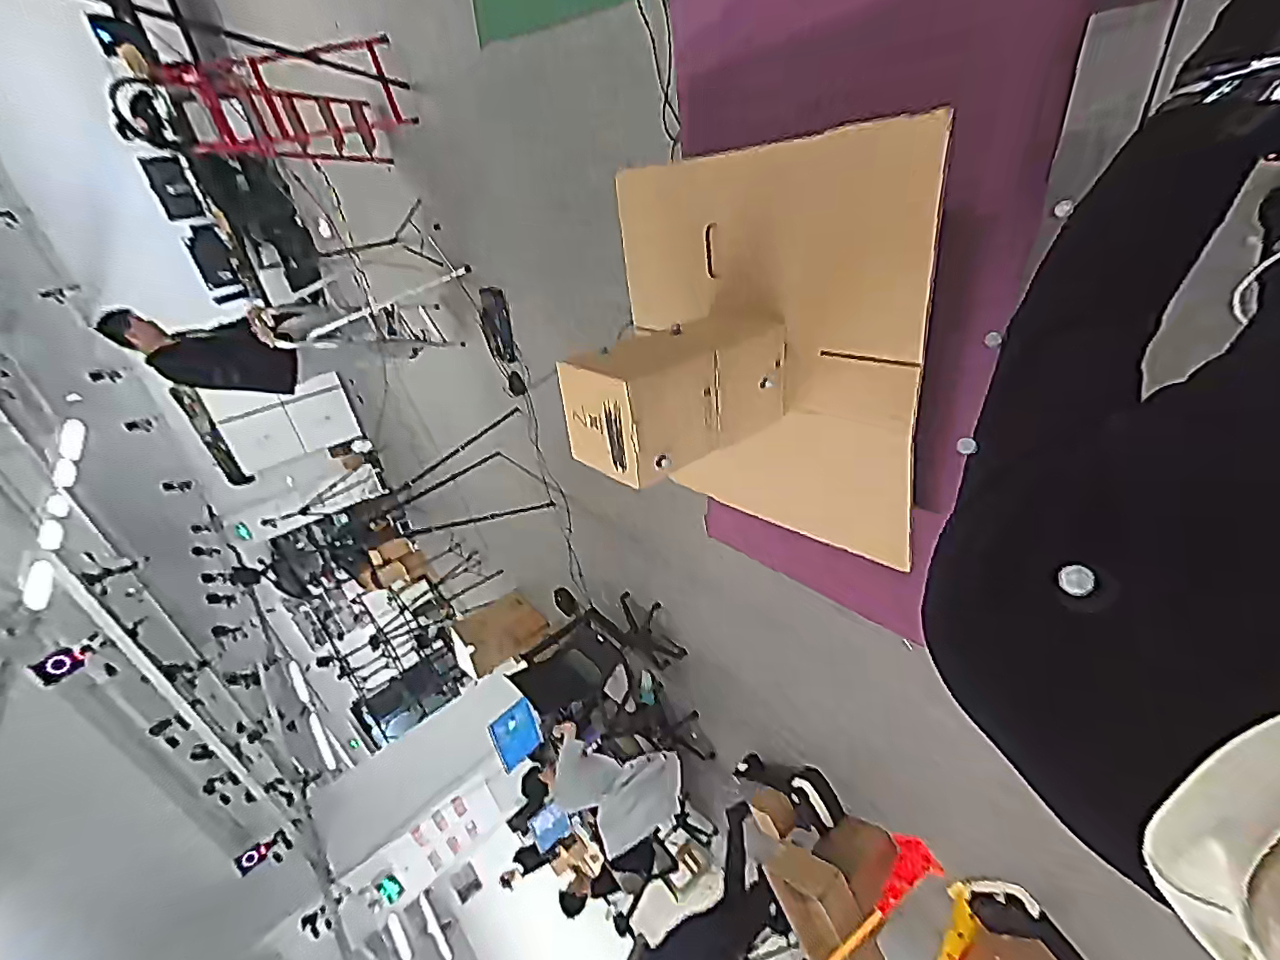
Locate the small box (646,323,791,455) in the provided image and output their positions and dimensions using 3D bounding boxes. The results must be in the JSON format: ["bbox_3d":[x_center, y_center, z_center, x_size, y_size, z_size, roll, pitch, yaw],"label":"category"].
[{"bbox_3d":[0.134,-0.165,0.924,0.179,0.176,0.168,24,131,44],"label":"small box"}]
